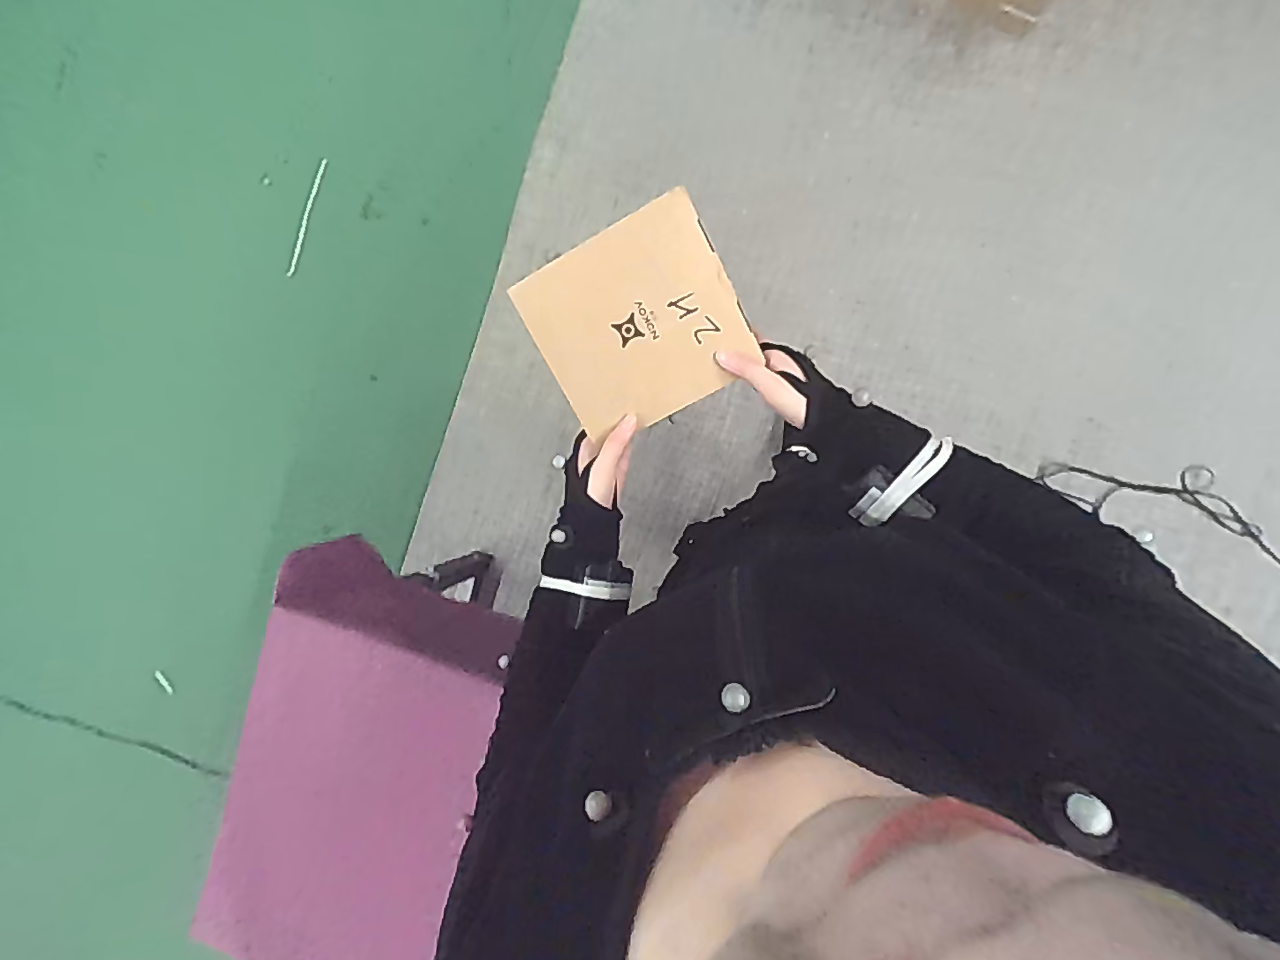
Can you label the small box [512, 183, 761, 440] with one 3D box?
[{"bbox_3d":[0.004,-0.160,0.552,0.179,0.176,0.168,-25,102,10],"label":"small box"}]
